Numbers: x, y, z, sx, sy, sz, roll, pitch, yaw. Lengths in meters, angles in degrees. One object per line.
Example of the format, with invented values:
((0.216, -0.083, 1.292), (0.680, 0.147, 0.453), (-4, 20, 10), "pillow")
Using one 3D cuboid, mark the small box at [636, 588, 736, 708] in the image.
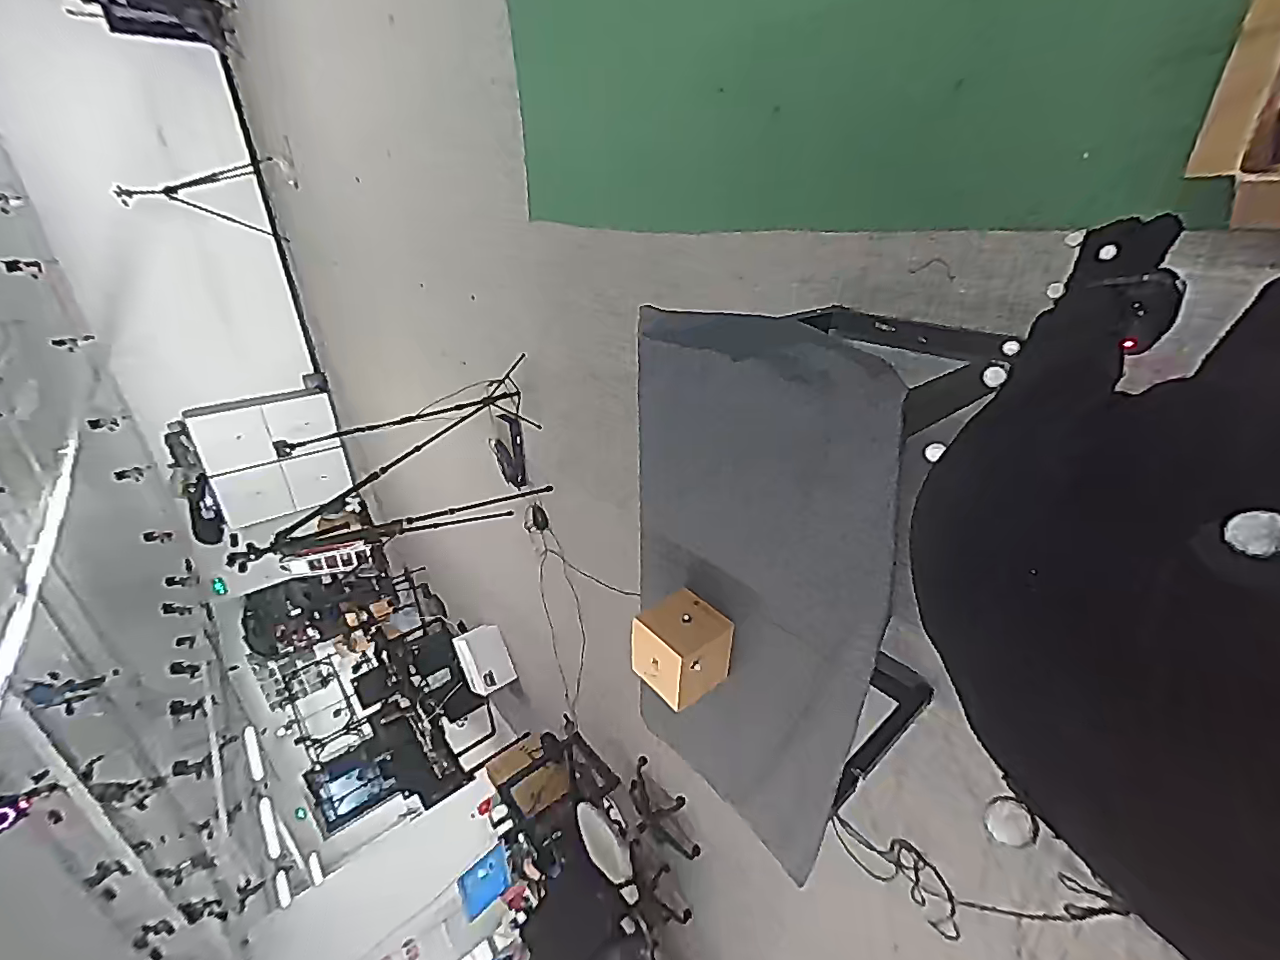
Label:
((0.107, 0.386, 1.277), (0.168, 0.176, 0.179), (31, 131, 42), "small box")
